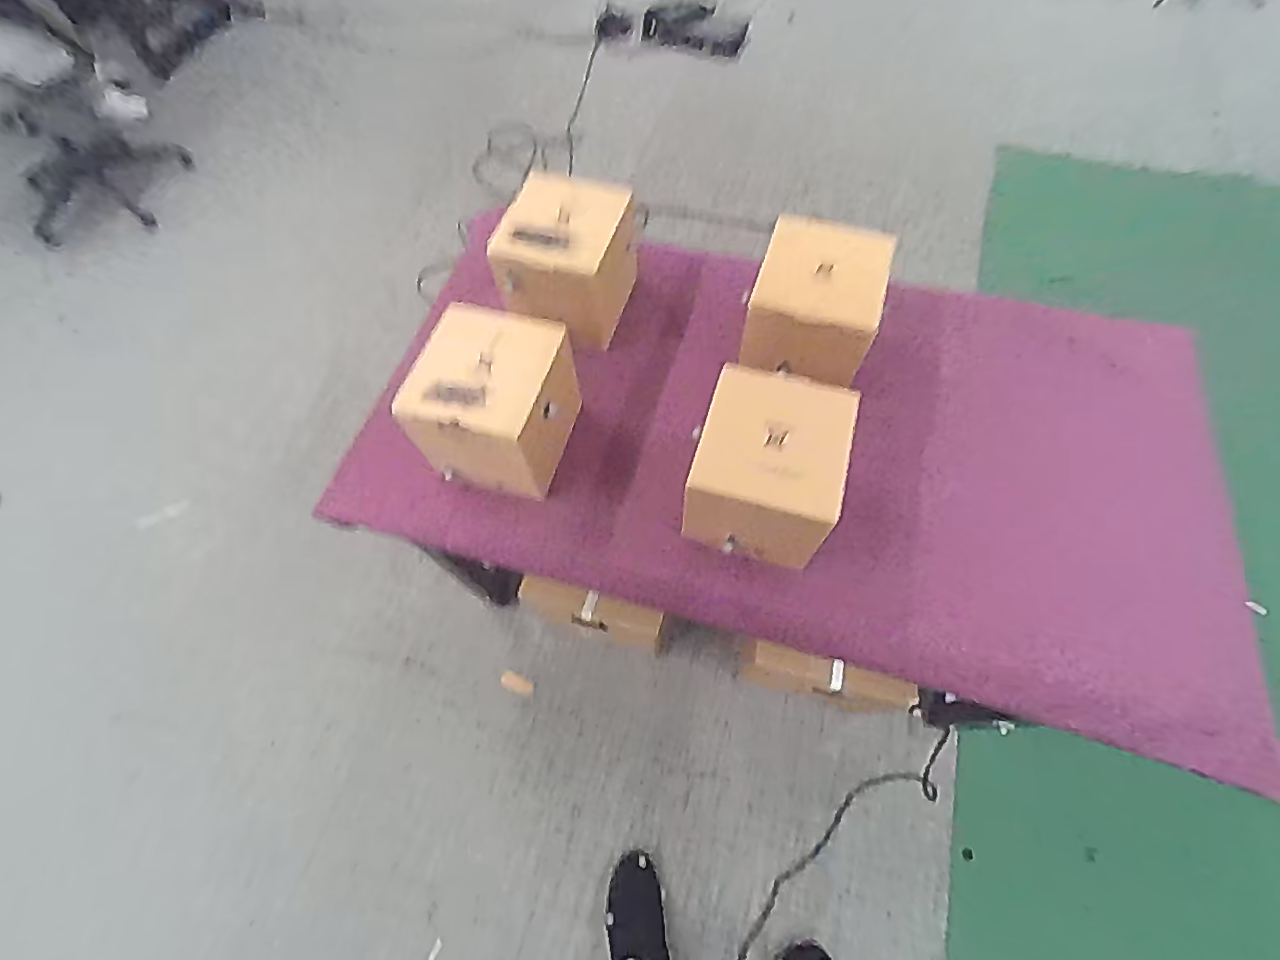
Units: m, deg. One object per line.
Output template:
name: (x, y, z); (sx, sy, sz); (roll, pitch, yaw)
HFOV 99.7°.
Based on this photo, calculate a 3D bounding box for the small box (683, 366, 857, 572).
small box: (0.153, -0.008, 0.677); (0.168, 0.176, 0.179); (15, 64, 11)

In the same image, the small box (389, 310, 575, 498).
small box: (-0.195, -0.096, 0.734); (0.168, 0.176, 0.179); (13, 63, 8)

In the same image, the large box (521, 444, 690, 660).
large box: (-0.049, 0.184, 1.330); (0.320, 0.320, 0.408); (14, 64, 9)

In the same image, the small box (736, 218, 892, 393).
small box: (0.245, -0.241, 0.791); (0.168, 0.176, 0.179); (16, 66, 10)
